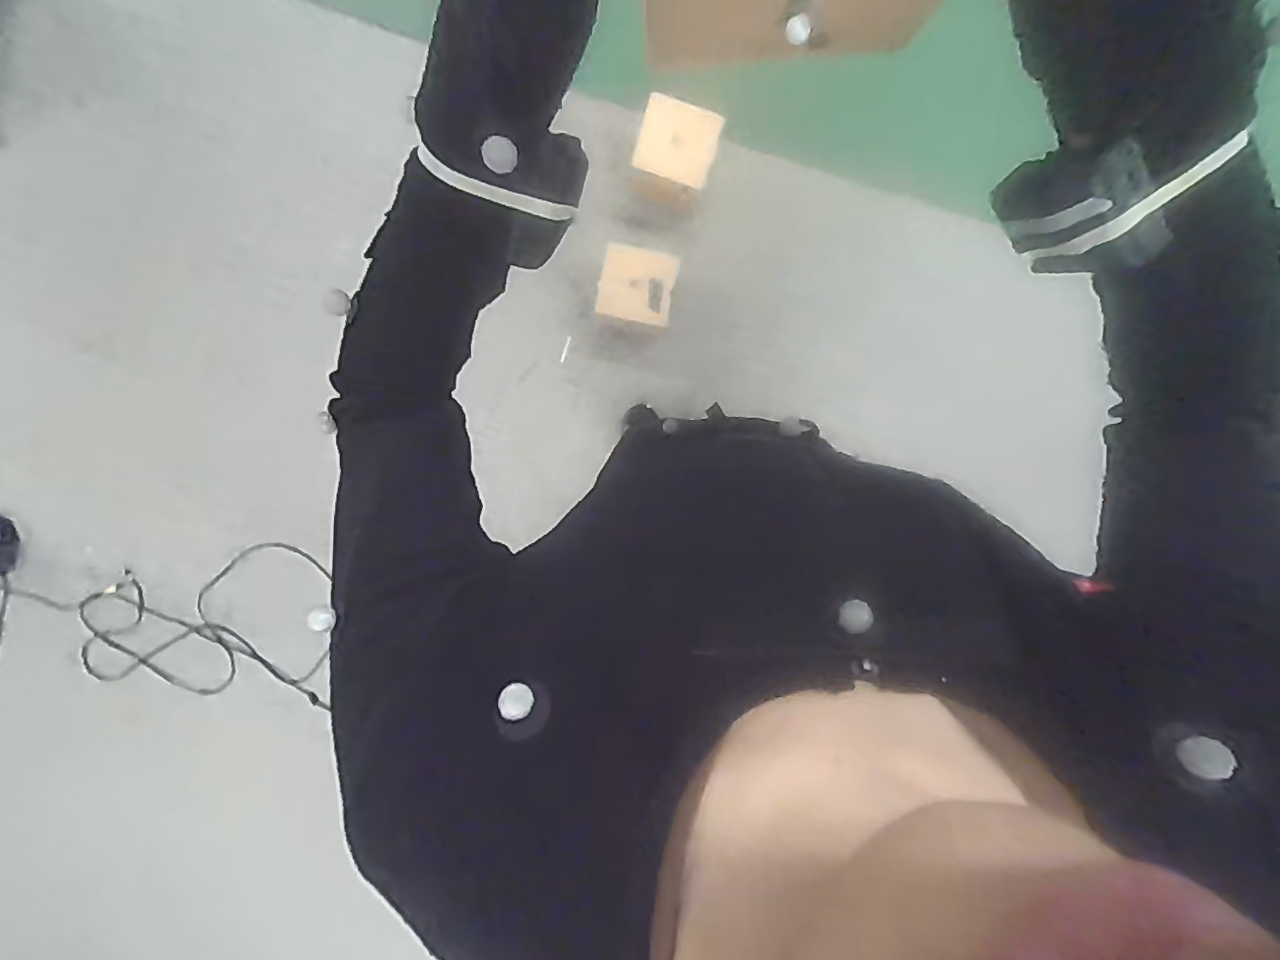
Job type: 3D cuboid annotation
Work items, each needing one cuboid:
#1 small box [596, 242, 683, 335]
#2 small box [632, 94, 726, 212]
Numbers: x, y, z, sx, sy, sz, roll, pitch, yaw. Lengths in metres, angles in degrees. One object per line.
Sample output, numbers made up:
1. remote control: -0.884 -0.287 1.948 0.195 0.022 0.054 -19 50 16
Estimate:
1. small box: -0.003 -0.463 1.335 0.179 0.176 0.168 12 97 -2
2. small box: 0.087 -0.772 1.297 0.179 0.176 0.168 17 98 -4
